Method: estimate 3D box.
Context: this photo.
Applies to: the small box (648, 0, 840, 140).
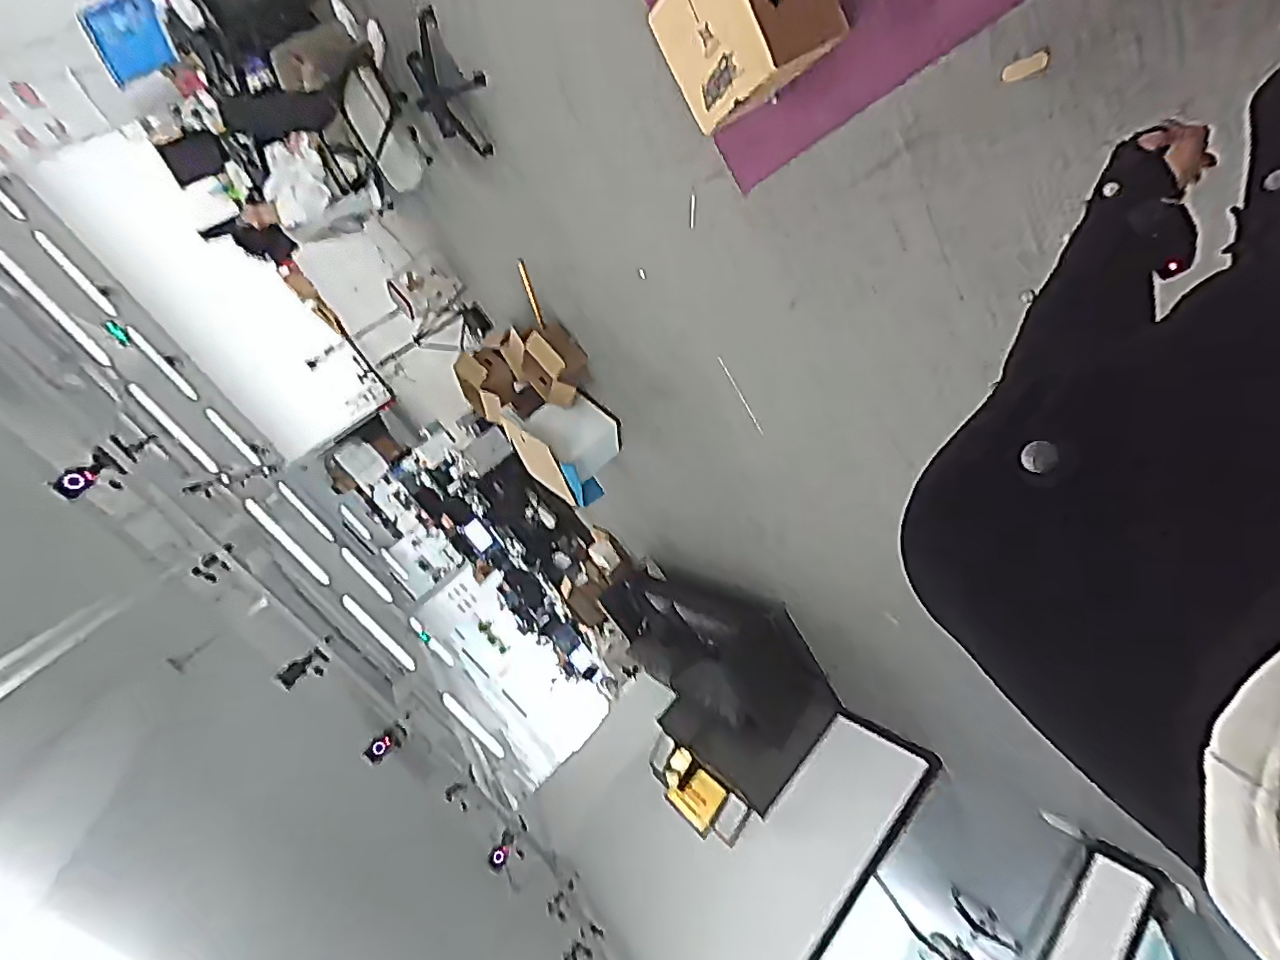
[{"bbox_3d":[0.150,-0.640,0.772,0.179,0.176,0.168,58,157,-18],"label":"small box"}]
